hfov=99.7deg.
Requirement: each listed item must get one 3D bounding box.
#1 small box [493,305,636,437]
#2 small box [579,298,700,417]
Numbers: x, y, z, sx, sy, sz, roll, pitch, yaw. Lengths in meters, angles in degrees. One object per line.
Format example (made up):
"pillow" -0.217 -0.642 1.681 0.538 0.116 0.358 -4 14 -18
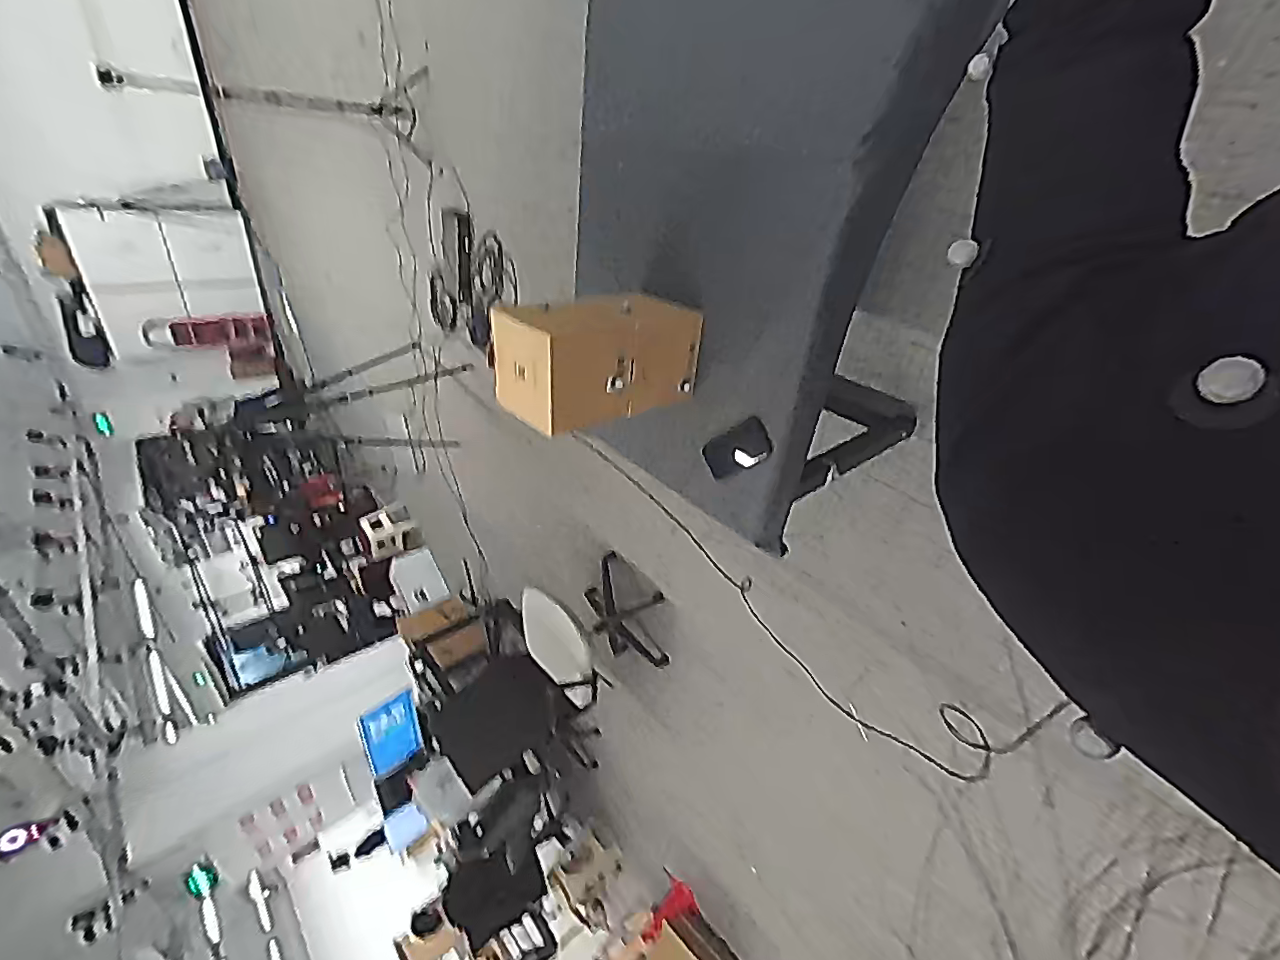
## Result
"small box" -0.128 -0.195 0.920 0.179 0.176 0.168 30 129 38
"small box" -0.008 -0.240 1.019 0.179 0.176 0.168 32 130 39
